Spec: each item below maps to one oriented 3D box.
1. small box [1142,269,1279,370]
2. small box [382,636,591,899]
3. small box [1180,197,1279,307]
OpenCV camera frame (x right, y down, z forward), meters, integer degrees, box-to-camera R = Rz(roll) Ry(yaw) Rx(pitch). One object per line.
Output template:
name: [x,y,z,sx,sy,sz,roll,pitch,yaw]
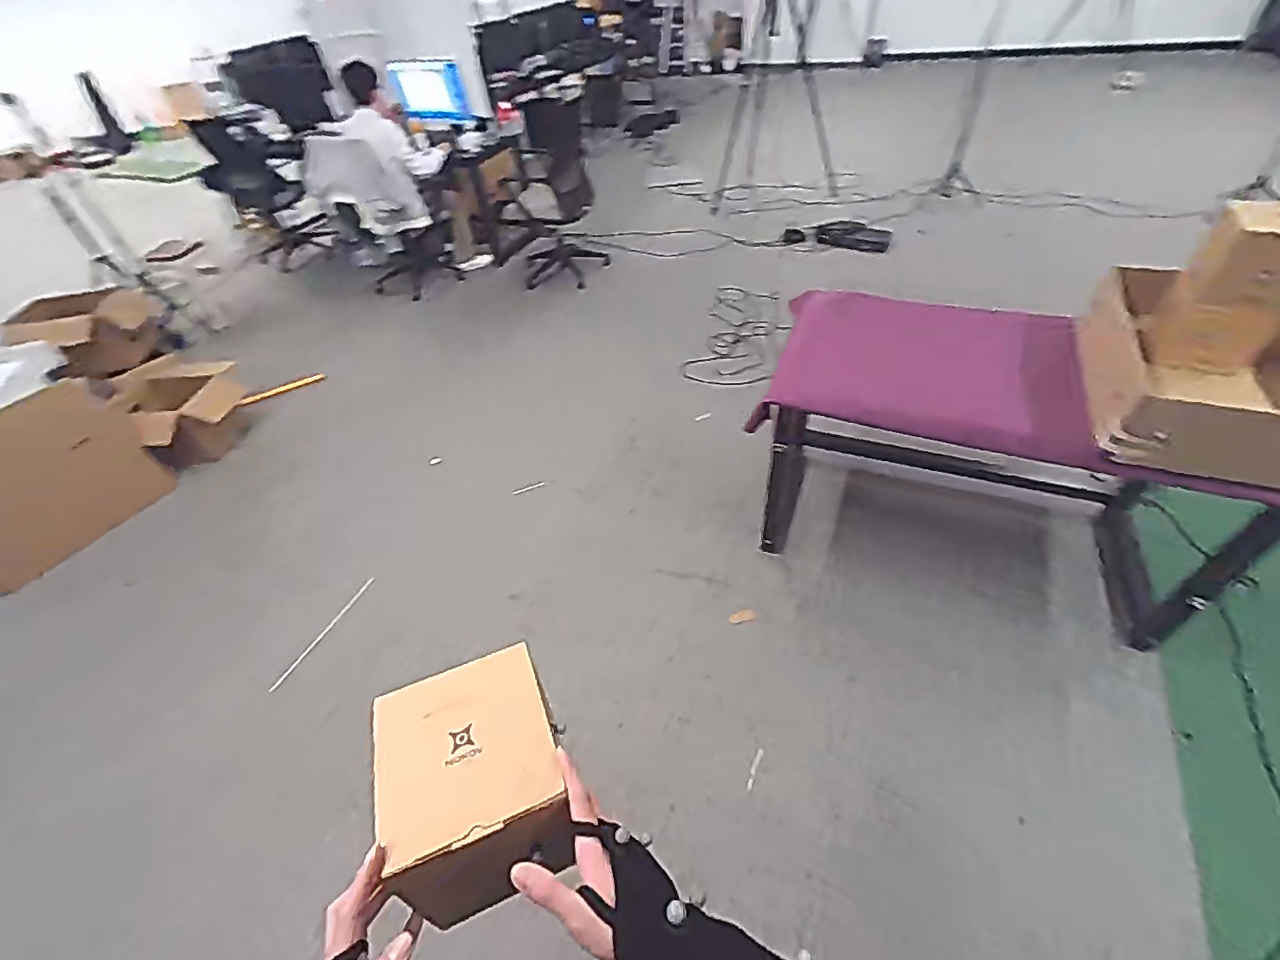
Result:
small box: [1.368,-0.388,1.310,0.168,0.176,0.179,15,50,23]
small box: [-0.159,0.308,0.577,0.168,0.176,0.179,-17,40,-13]
small box: [1.352,-0.503,1.194,0.168,0.176,0.179,16,51,23]
